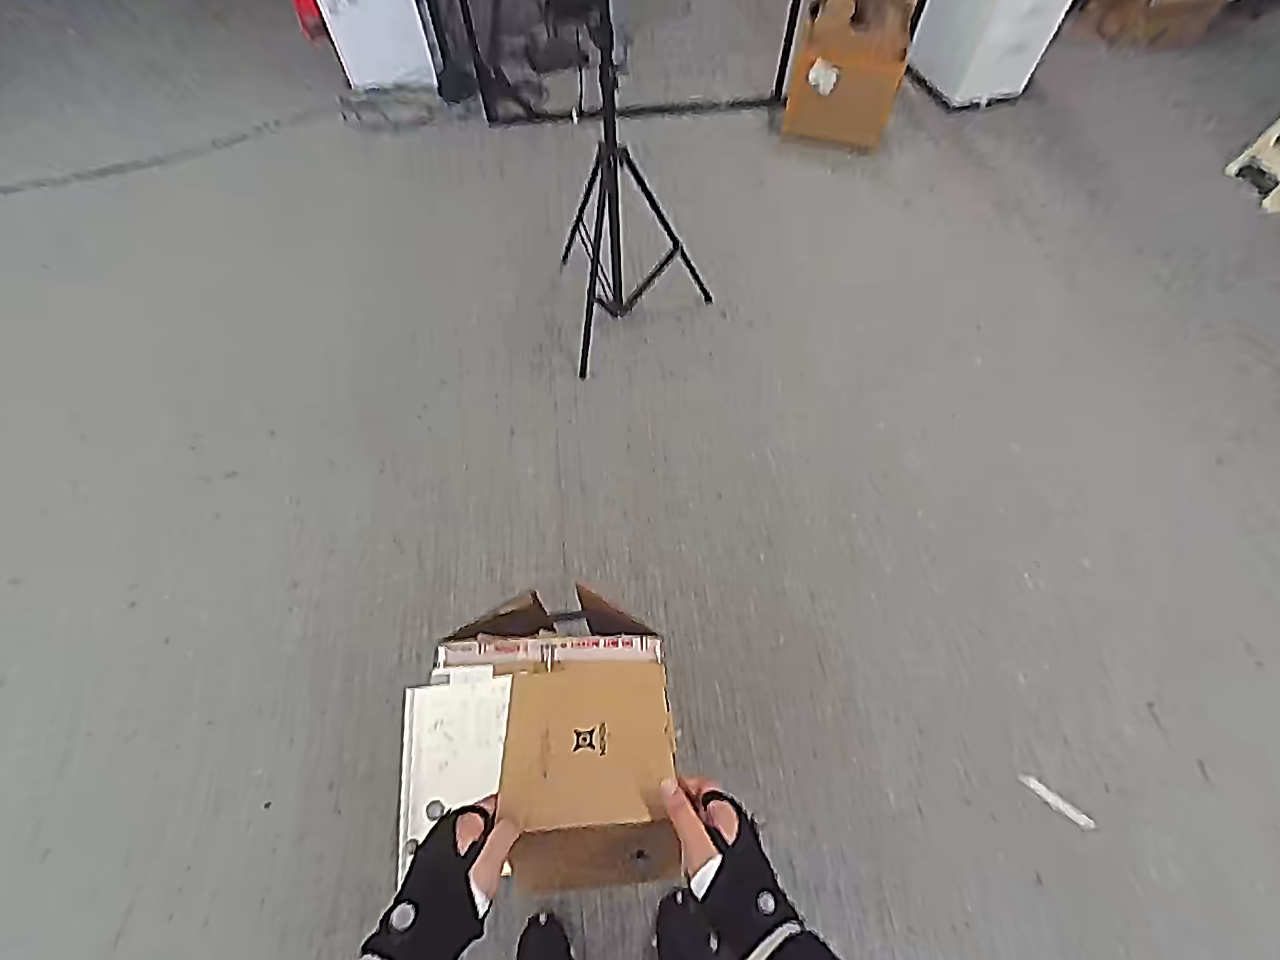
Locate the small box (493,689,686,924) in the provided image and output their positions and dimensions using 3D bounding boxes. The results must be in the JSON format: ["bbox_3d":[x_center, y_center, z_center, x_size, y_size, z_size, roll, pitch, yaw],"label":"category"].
[{"bbox_3d":[-0.047,0.356,0.594,0.179,0.176,0.168,-6,36,-2],"label":"small box"}]
